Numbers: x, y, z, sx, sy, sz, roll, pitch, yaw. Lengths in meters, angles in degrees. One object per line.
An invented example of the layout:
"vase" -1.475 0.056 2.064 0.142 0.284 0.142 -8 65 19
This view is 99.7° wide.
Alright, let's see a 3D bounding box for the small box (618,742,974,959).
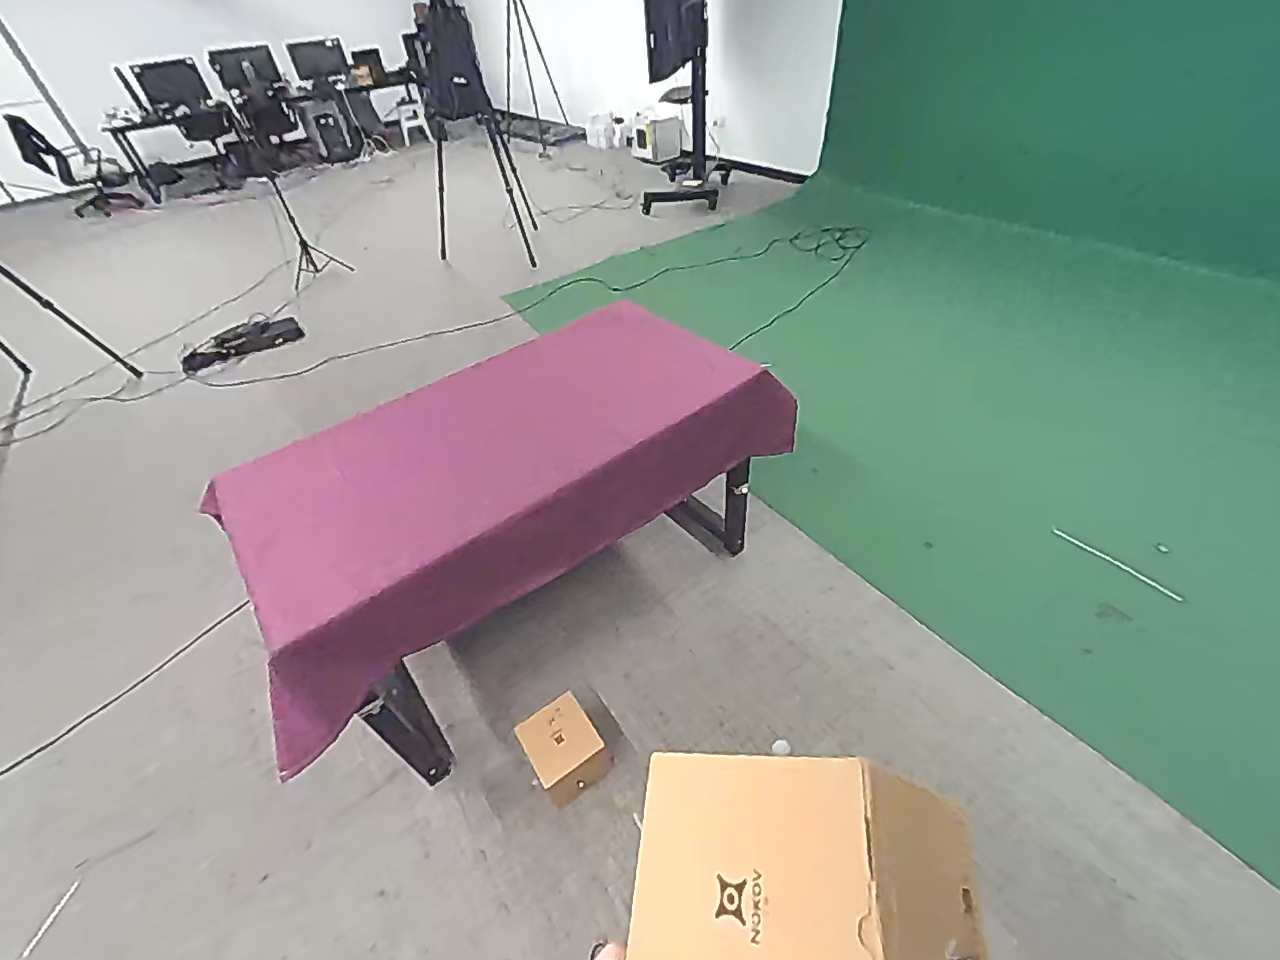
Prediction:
"small box" 0.110 0.295 0.383 0.179 0.176 0.168 -22 45 39
